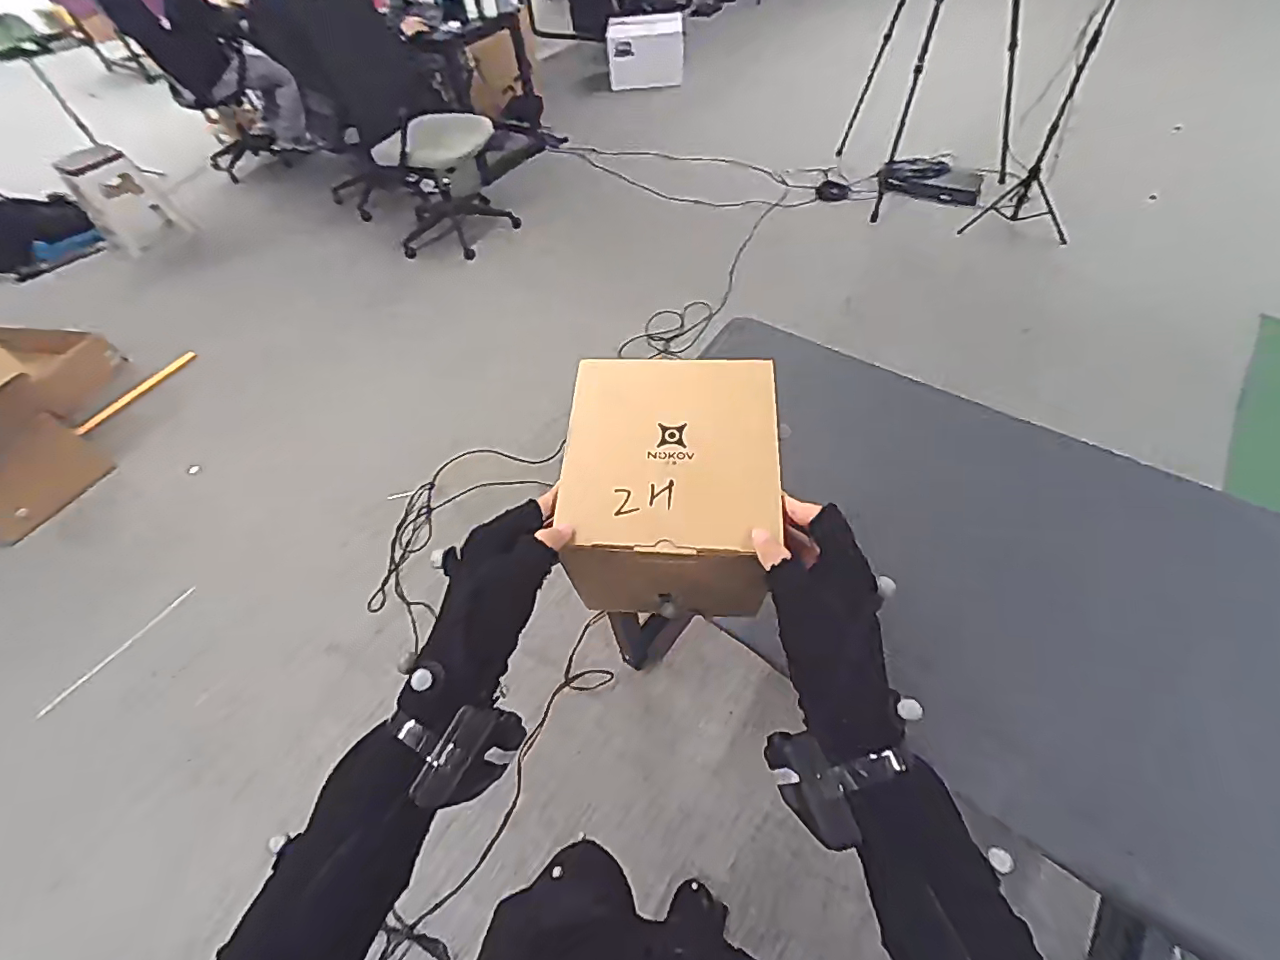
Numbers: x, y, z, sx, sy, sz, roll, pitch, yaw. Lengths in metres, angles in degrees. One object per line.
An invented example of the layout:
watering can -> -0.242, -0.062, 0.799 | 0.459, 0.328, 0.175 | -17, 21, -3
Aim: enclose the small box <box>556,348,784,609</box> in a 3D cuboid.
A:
small box -> 0.032, 0.004, 0.492 | 0.168, 0.176, 0.179 | 3, 62, 6
